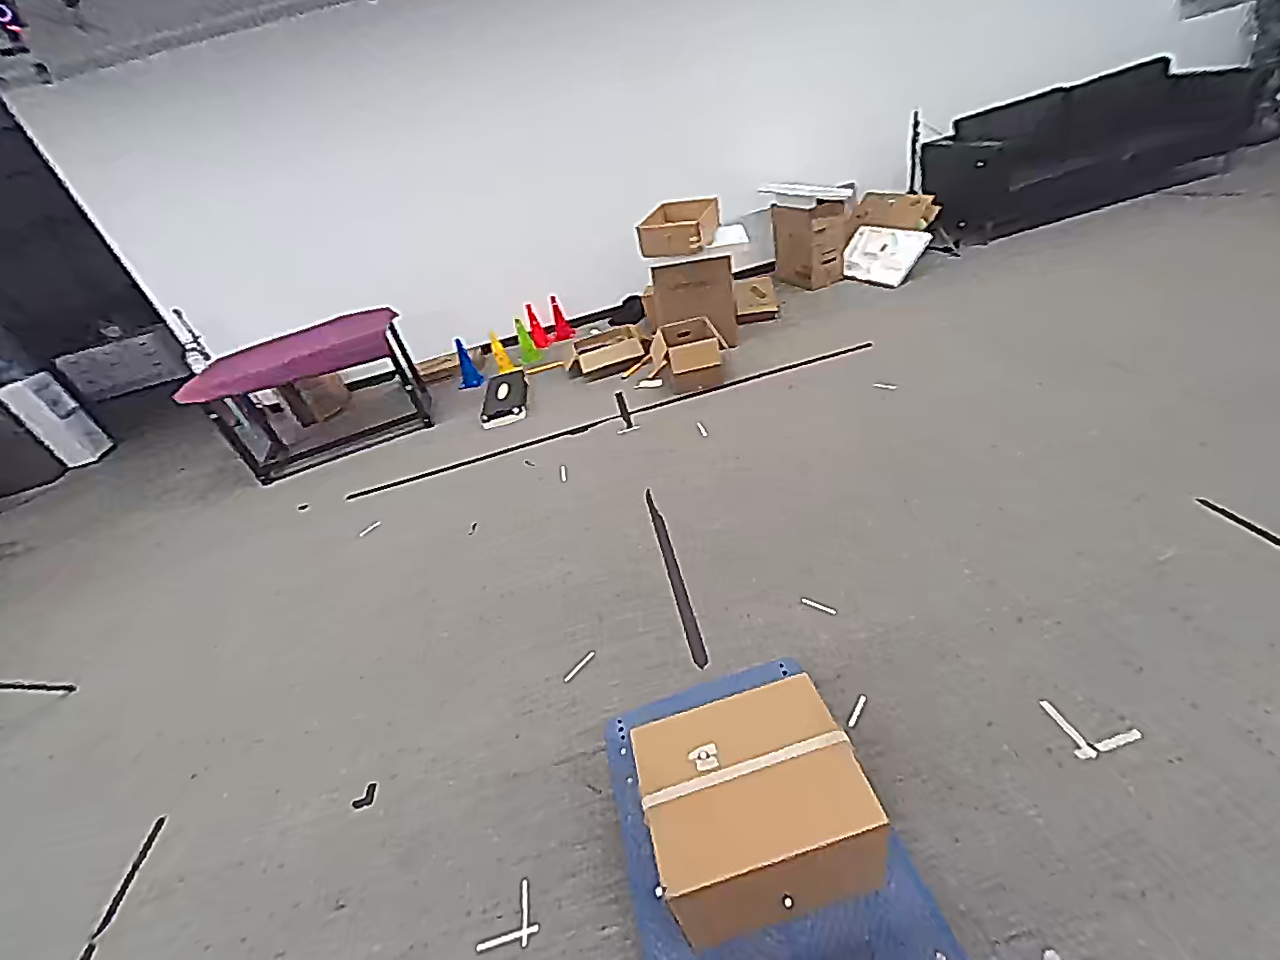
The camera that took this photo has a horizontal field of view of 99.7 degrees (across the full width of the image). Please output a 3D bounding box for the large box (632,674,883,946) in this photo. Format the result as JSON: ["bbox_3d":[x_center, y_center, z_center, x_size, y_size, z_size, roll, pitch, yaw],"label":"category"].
[{"bbox_3d":[0.237,0.681,1.130,0.408,0.320,0.320,-18,34,-2],"label":"large box"}]
